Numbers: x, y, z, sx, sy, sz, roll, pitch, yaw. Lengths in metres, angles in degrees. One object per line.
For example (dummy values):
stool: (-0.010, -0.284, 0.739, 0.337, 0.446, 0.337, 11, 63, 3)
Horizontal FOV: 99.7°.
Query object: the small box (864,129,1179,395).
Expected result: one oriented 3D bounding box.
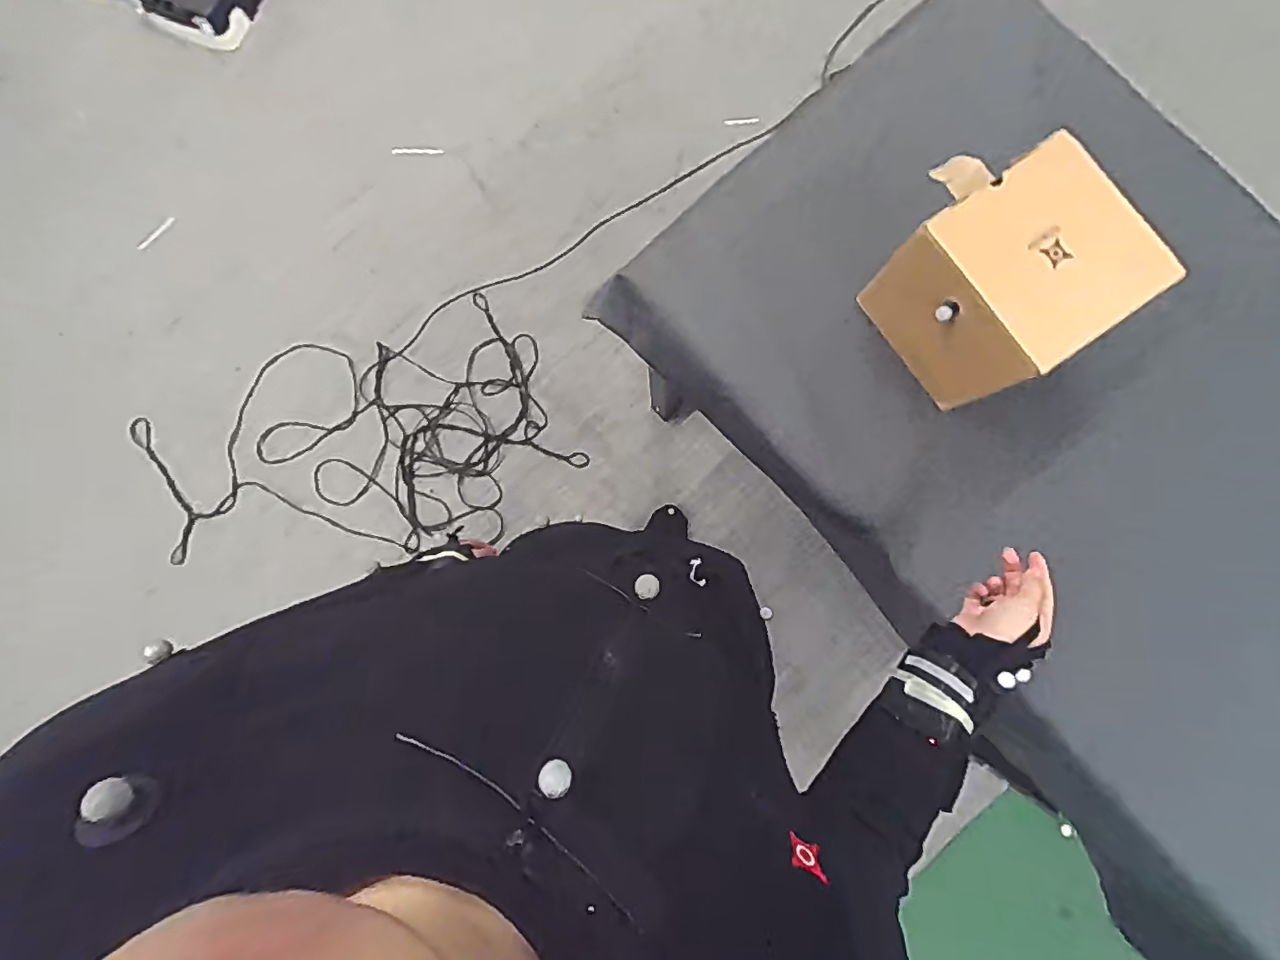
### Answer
small box: (0.379, -0.208, 0.576, 0.168, 0.176, 0.179, -35, 85, -2)
